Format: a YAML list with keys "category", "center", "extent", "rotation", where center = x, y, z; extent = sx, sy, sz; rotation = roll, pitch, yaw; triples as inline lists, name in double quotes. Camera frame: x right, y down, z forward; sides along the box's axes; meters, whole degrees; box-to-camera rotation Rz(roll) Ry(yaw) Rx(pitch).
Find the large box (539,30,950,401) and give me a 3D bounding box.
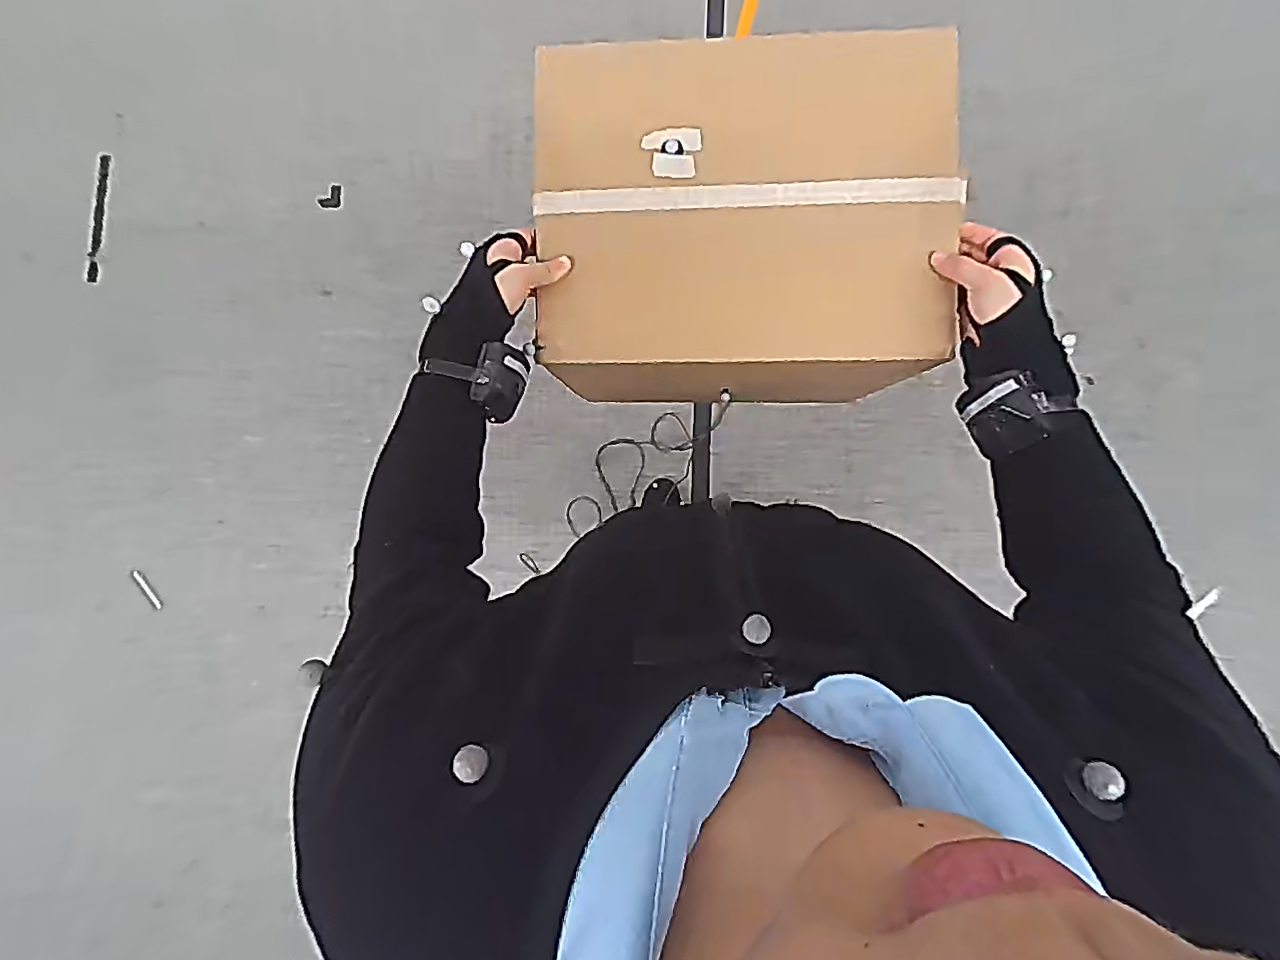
- category: "large box"
  center: [0.112, -0.275, 0.681]
  extent: [0.408, 0.320, 0.320]
  rotation: [0, 89, 5]
